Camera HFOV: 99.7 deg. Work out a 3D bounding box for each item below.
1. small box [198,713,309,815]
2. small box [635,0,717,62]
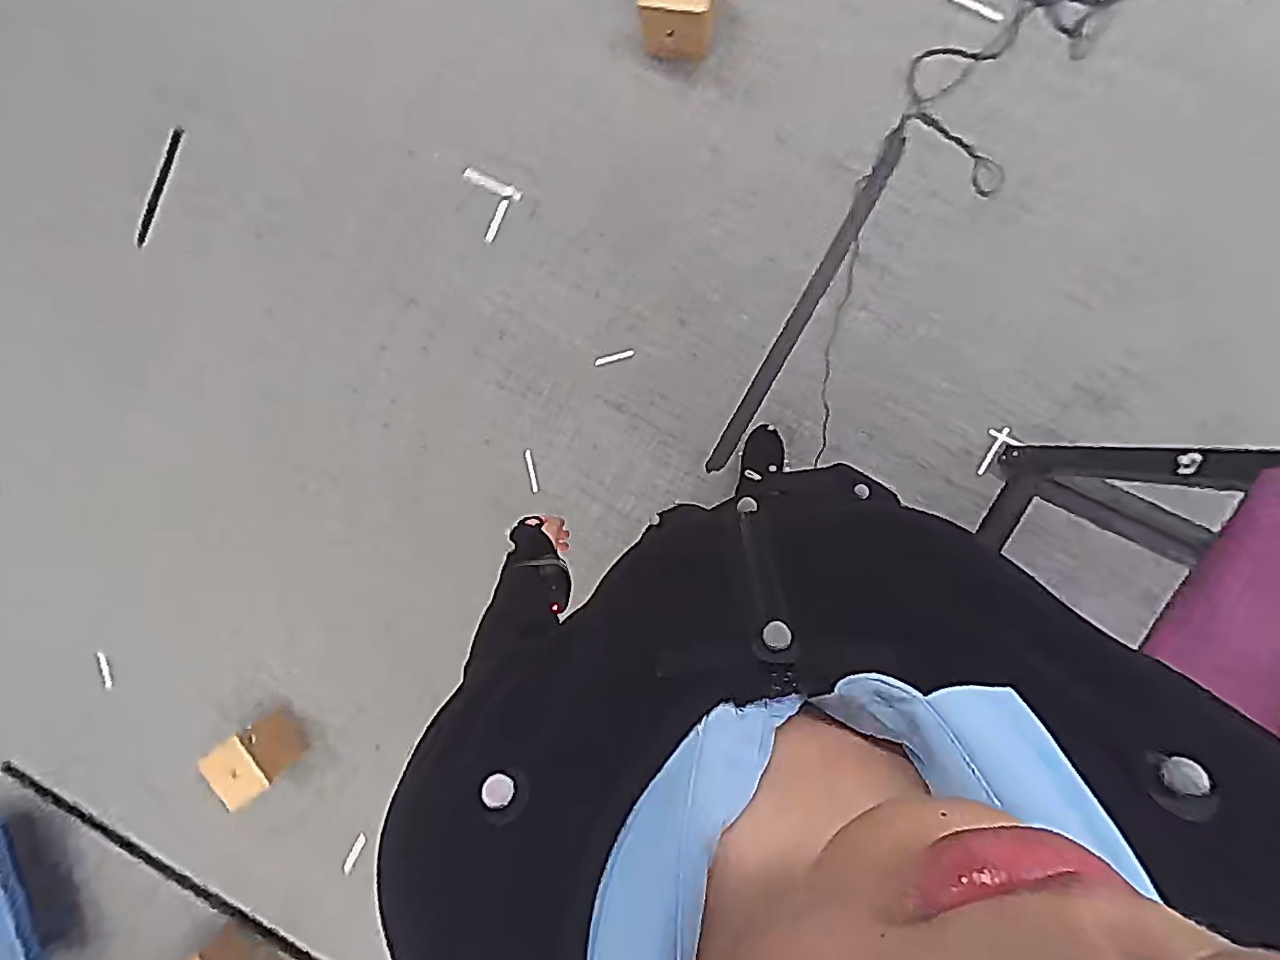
[{"bbox_3d":[-1.150,0.844,1.624,0.168,0.176,0.179,-37,89,8],"label":"small box"},{"bbox_3d":[0.095,-1.171,1.320,0.168,0.176,0.179,12,95,6],"label":"small box"}]
